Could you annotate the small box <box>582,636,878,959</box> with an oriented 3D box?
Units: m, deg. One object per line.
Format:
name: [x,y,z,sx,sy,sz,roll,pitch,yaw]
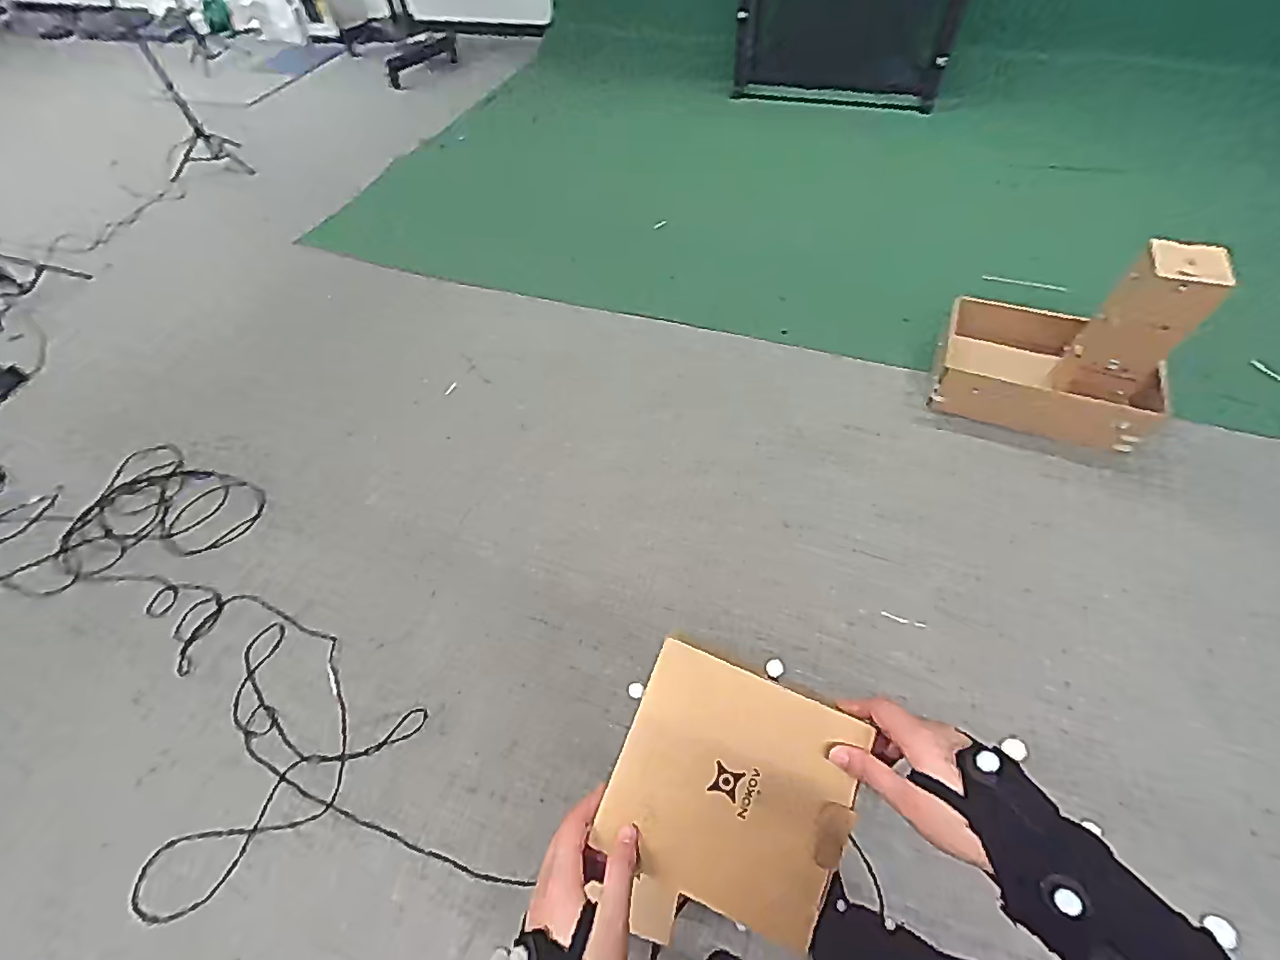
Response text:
small box: [0.072,0.249,0.476,0.179,0.176,0.168,22,79,9]

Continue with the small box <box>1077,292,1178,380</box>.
small box: [1.446,-0.431,1.616,0.168,0.176,0.179,18,60,18]

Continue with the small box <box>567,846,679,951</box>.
small box: [-0.011,0.709,0.974,0.179,0.176,0.168,11,56,12]

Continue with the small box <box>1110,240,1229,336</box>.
small box: [1.434,-0.525,1.482,0.168,0.176,0.179,15,57,16]
